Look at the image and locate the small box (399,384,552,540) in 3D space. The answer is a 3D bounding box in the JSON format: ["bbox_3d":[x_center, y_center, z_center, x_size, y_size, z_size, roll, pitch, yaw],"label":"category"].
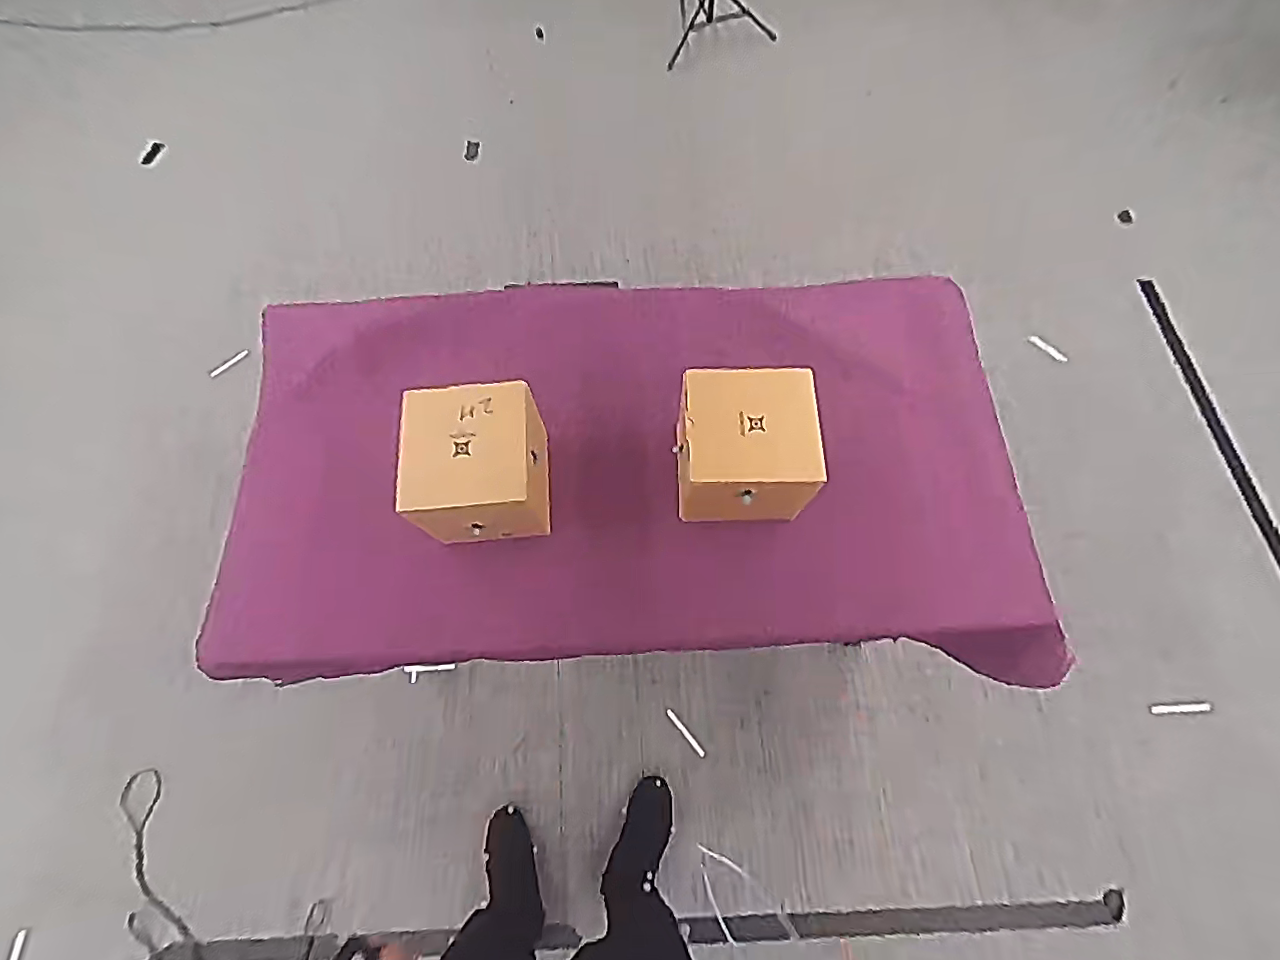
[{"bbox_3d":[-0.221,-0.016,0.772,0.168,0.176,0.179,-4,69,-1],"label":"small box"}]

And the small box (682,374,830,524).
[{"bbox_3d":[0.153,-0.038,0.775,0.179,0.176,0.168,-1,69,2],"label":"small box"}]
